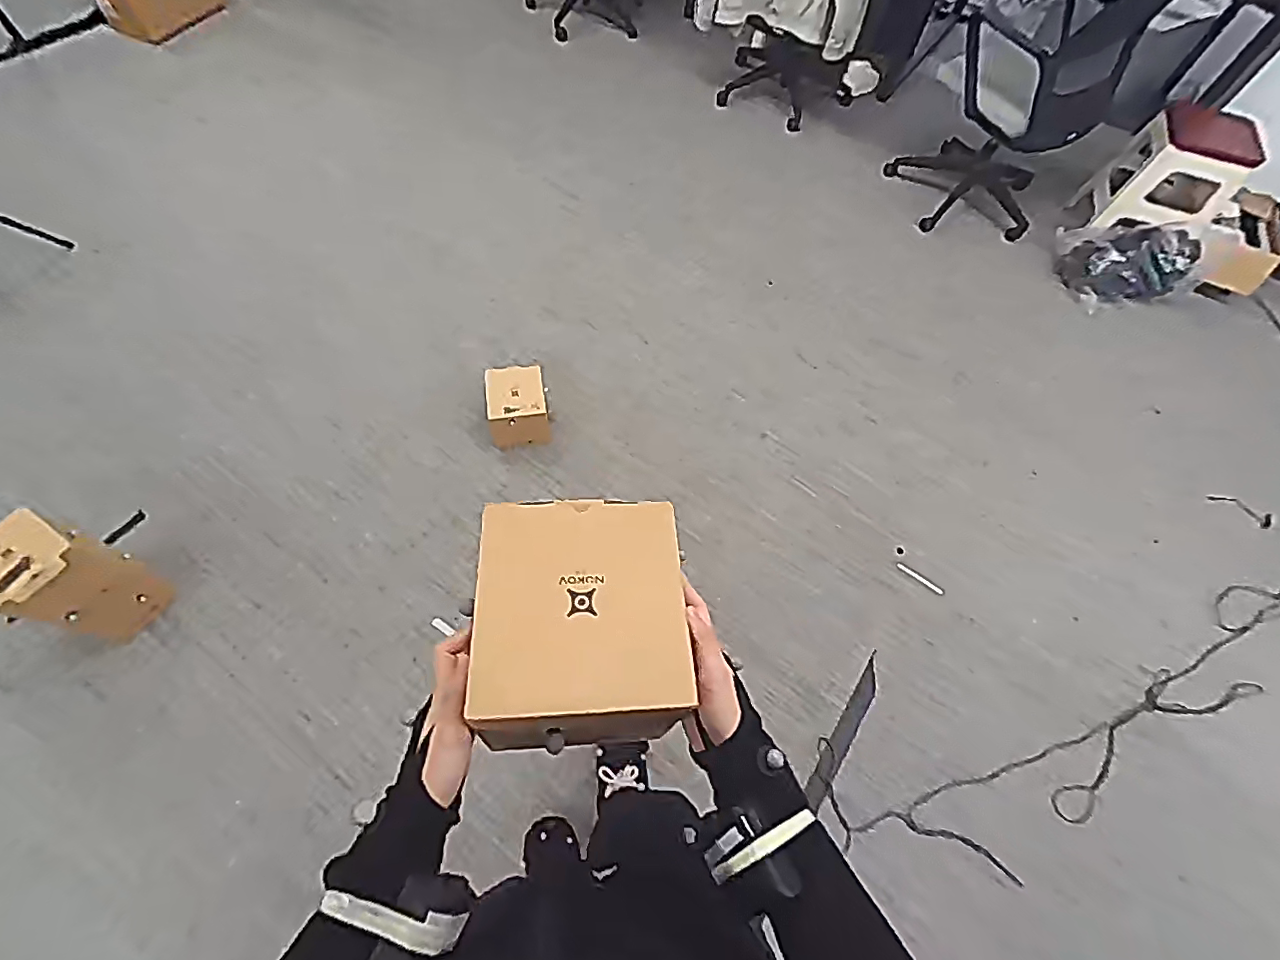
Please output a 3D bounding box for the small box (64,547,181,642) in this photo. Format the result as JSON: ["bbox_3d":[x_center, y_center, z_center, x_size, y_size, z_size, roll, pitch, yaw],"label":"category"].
[{"bbox_3d":[-1.299,0.280,1.327,0.179,0.176,0.168,29,64,12],"label":"small box"}]

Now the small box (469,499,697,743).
[{"bbox_3d":[-0.051,0.134,0.493,0.168,0.176,0.179,-1,56,-8],"label":"small box"}]

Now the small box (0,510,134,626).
[{"bbox_3d":[-1.287,0.200,1.184,0.179,0.176,0.168,30,64,12],"label":"small box"}]

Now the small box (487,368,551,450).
[{"bbox_3d":[-0.365,-0.215,1.640,0.168,0.176,0.179,-8,63,-8],"label":"small box"}]
